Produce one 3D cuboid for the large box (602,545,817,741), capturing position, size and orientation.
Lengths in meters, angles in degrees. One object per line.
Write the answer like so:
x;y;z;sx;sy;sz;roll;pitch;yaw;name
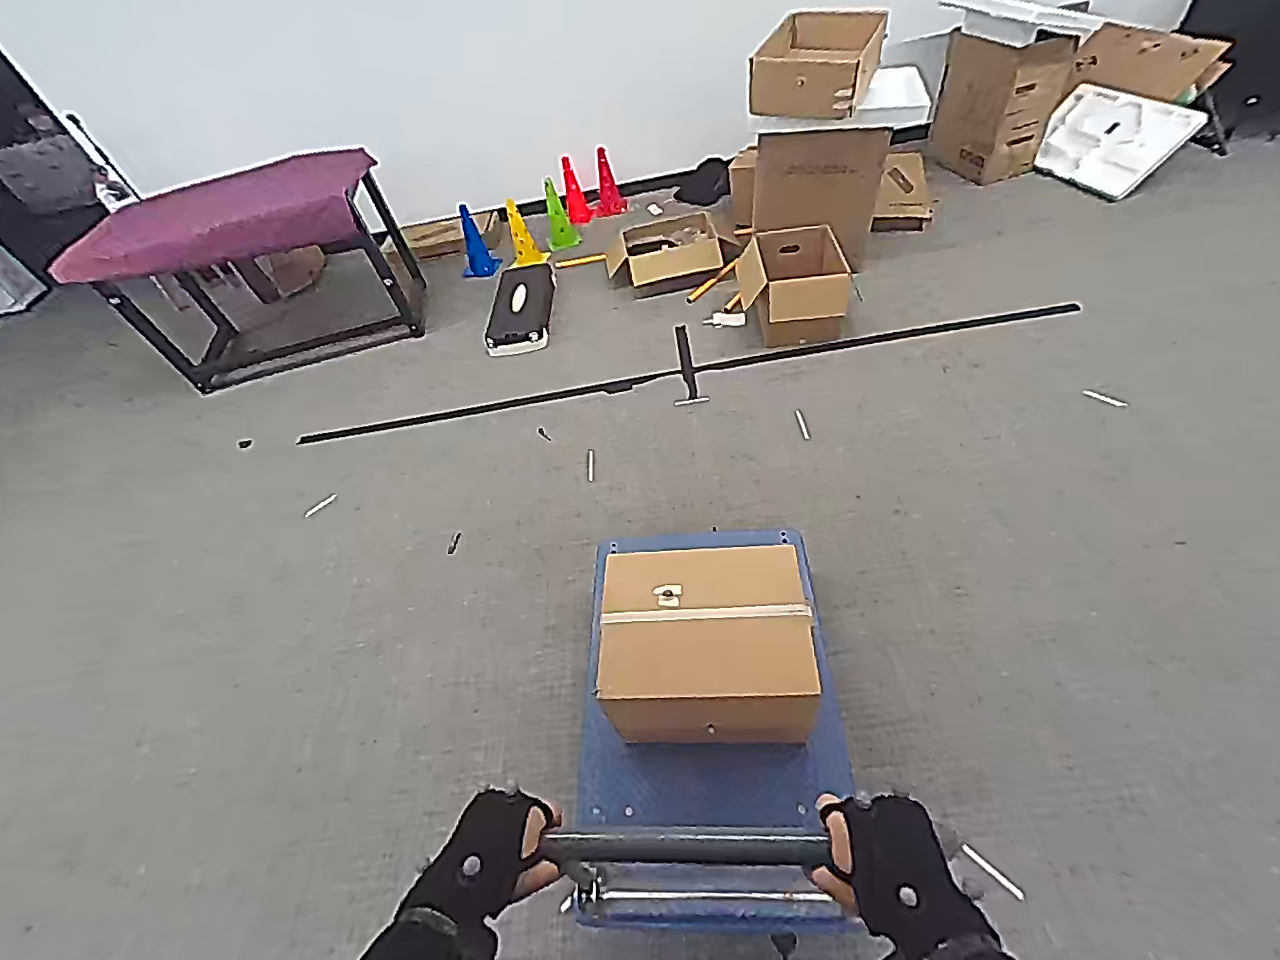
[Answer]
0.150;0.371;1.199;0.408;0.320;0.320;-6;49;8;large box
